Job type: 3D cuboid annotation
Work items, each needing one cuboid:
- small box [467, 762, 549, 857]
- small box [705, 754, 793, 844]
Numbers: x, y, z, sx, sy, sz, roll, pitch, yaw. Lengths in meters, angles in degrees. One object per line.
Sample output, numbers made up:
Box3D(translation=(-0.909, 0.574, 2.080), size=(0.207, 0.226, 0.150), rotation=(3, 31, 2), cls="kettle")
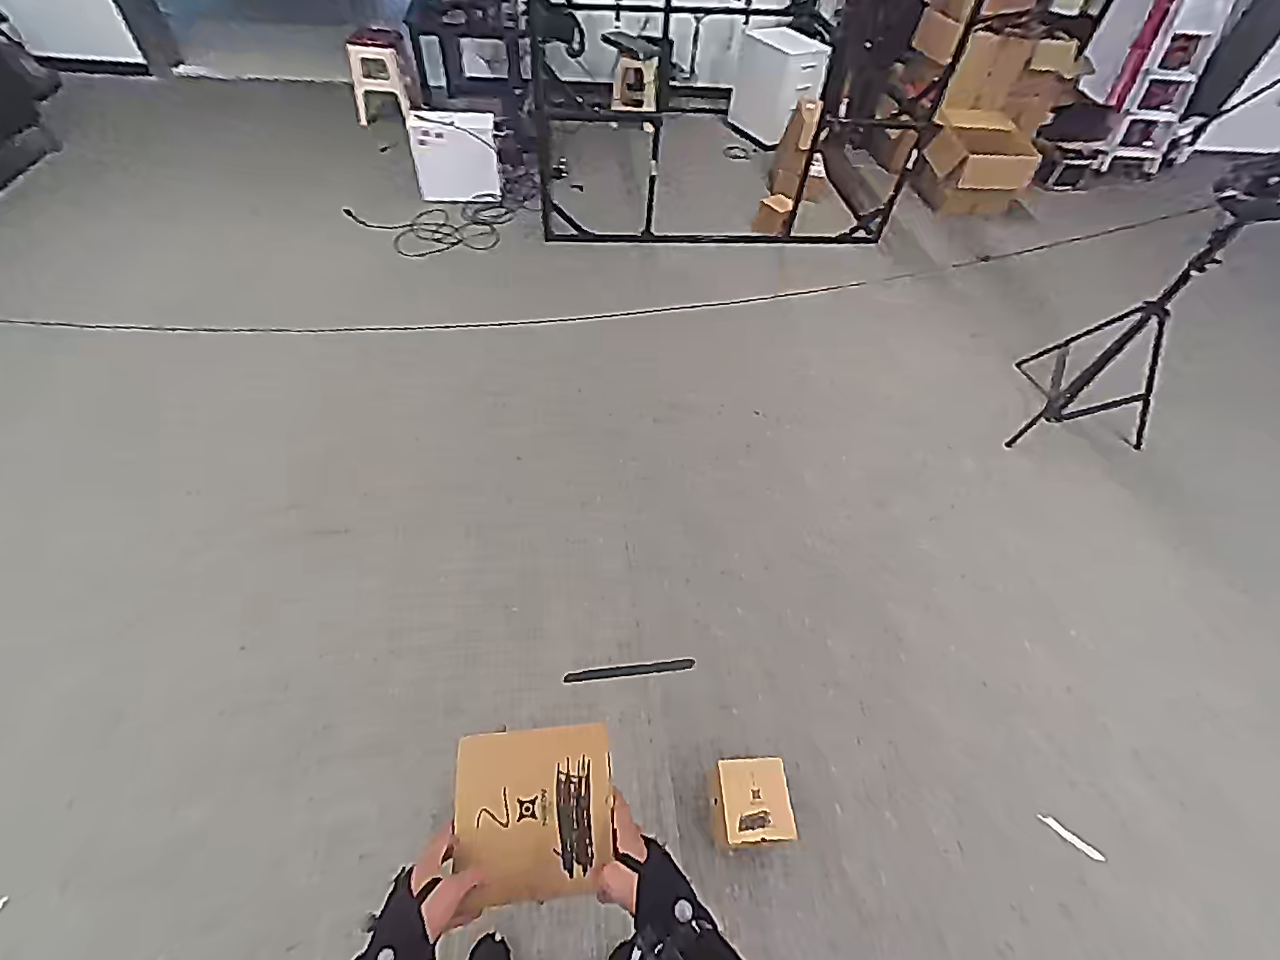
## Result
Box3D(translation=(-0.309, 0.797, 1.301), size=(0.168, 0.176, 0.179), rotation=(-2, 52, -6), cls="small box")
Box3D(translation=(0.263, 0.800, 1.349), size=(0.168, 0.176, 0.179), rotation=(0, 52, -6), cls="small box")
